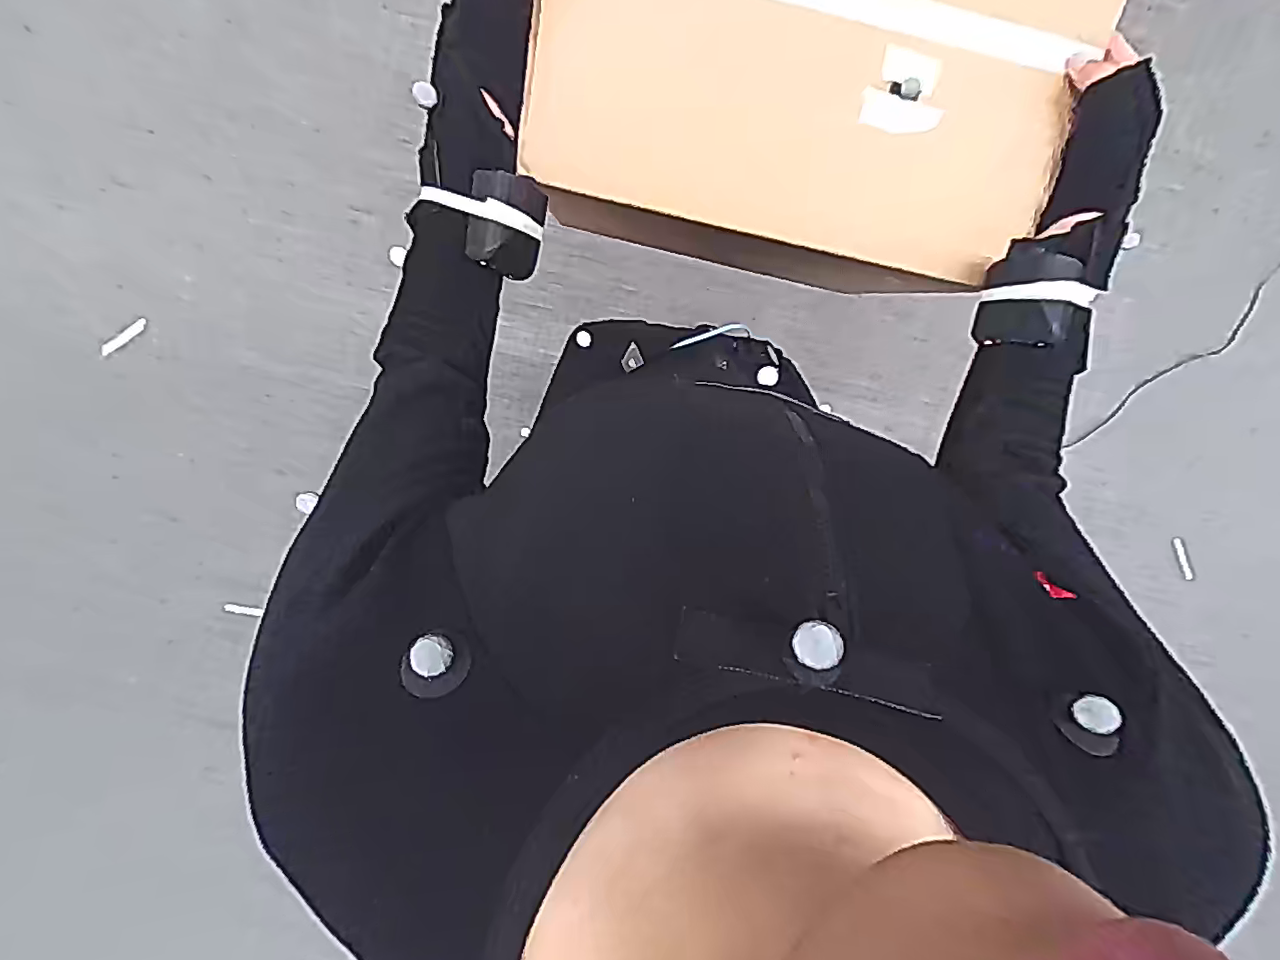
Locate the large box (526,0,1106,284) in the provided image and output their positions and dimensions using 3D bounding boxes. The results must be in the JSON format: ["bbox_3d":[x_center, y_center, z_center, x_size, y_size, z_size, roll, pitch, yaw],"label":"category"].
[{"bbox_3d":[0.125,-0.390,0.526,0.408,0.320,0.320,10,109,-7],"label":"large box"}]
